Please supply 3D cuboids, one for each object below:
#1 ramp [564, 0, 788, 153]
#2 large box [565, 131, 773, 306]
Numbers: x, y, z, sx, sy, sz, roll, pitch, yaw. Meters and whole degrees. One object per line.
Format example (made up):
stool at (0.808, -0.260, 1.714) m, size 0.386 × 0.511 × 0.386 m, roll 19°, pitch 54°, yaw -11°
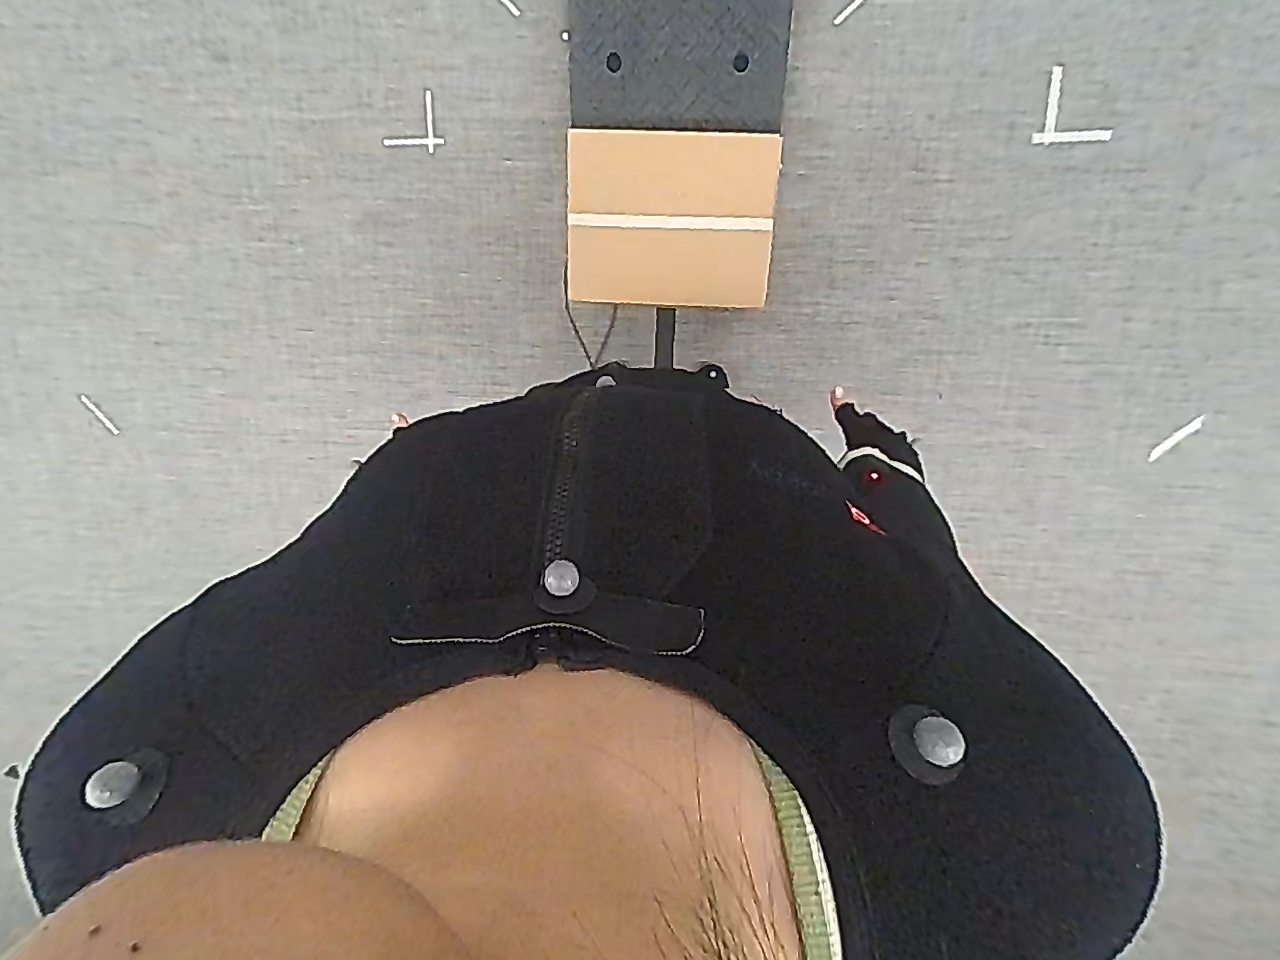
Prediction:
ramp at (0.080, -1.142, 1.137) m, size 0.509 × 0.206 × 0.991 m, roll 0°, pitch 104°, yaw 2°
large box at (0.060, -0.557, 1.208) m, size 0.408 × 0.320 × 0.320 m, roll 3°, pitch 107°, yaw 2°
